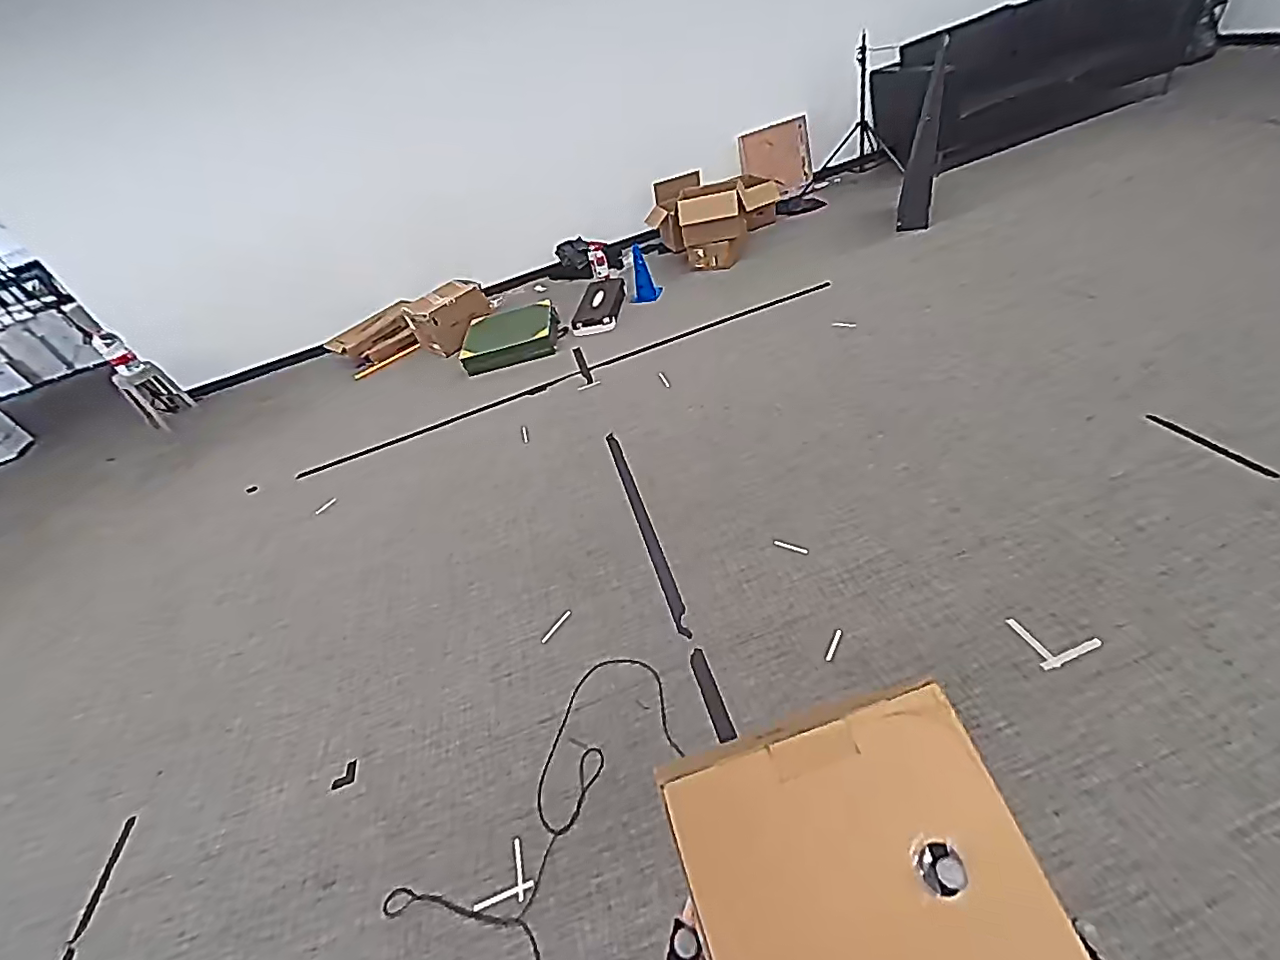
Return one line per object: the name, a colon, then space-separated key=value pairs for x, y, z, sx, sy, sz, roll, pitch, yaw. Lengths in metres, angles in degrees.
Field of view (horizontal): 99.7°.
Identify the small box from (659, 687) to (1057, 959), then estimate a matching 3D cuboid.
small box: x=0.117 y=0.251 z=0.345 sx=0.168 sy=0.179 sz=0.176 roll=-17 pitch=64 yaw=-7
